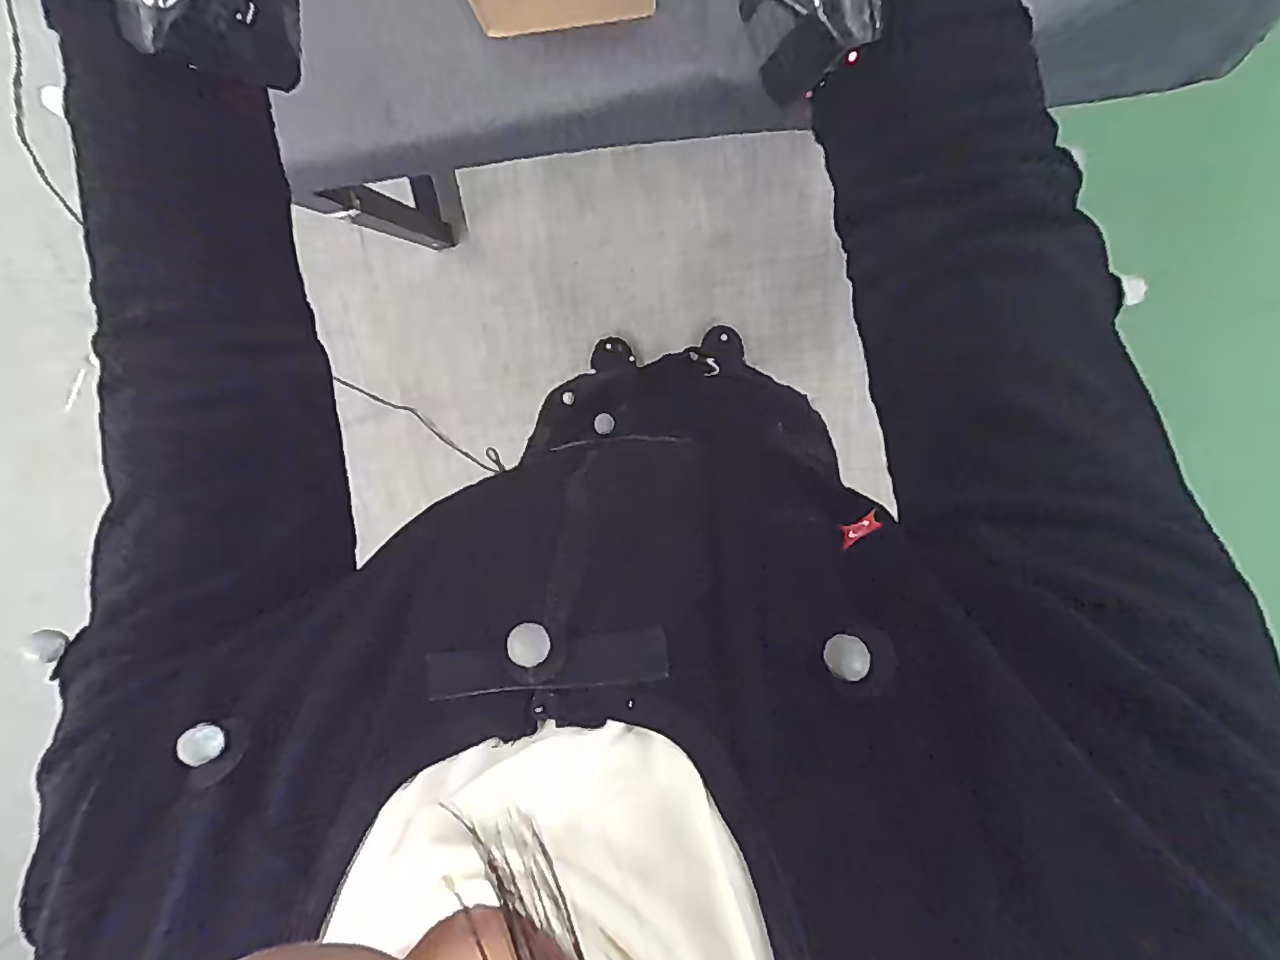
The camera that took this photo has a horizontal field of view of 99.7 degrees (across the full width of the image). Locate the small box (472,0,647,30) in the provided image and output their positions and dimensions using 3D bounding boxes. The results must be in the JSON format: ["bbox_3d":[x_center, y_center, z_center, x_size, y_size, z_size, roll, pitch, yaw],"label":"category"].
[{"bbox_3d":[-0.084,-0.525,0.460,0.179,0.176,0.168,-4,105,3],"label":"small box"}]
